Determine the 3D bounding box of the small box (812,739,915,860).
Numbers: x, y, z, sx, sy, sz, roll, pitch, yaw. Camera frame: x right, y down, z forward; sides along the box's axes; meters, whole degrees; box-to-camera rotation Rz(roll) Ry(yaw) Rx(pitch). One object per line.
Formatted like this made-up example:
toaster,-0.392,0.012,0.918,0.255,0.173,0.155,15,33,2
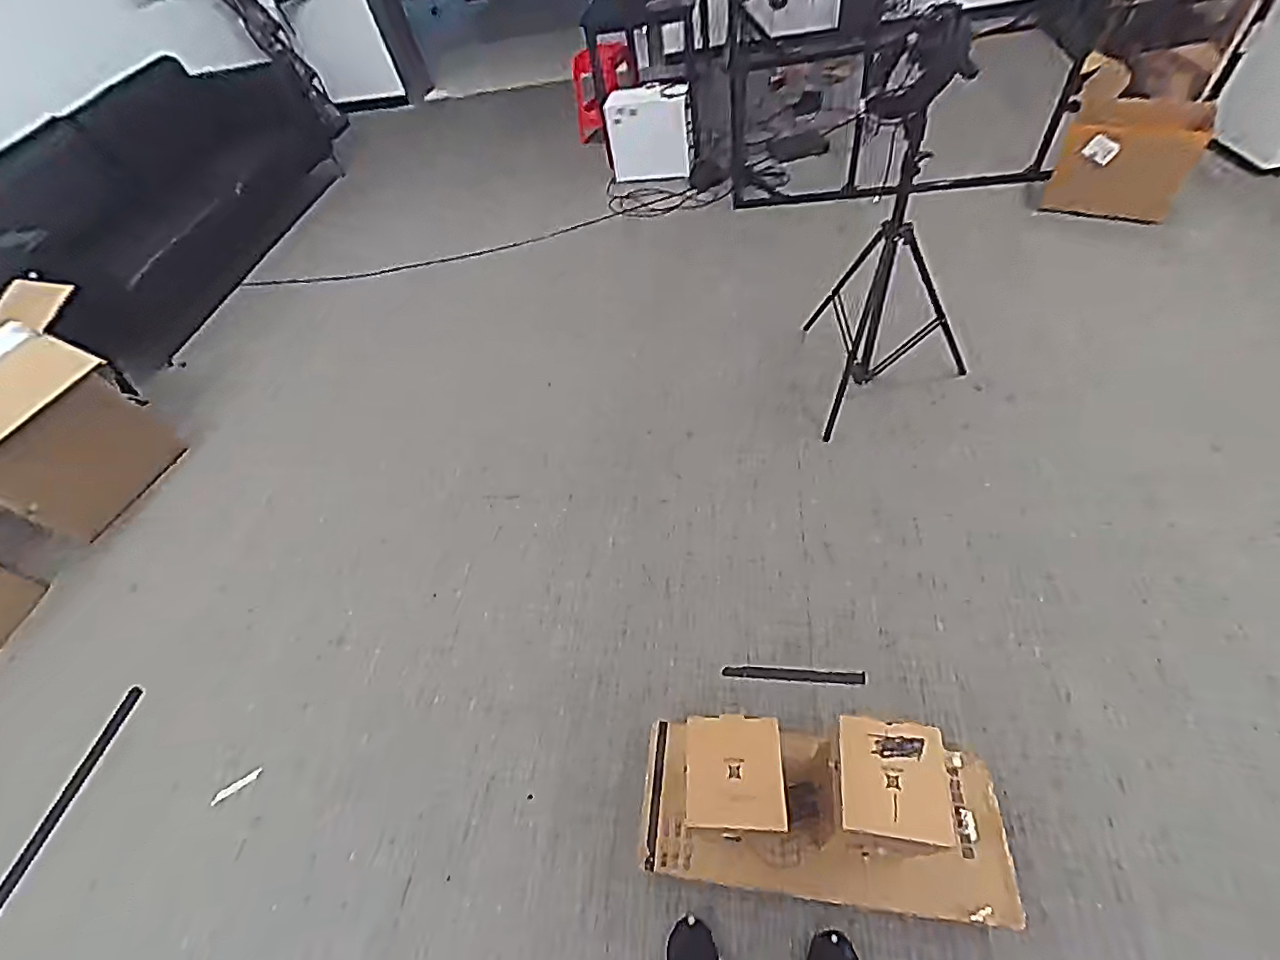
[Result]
small box,0.441,0.639,1.081,0.168,0.176,0.179,0,52,12

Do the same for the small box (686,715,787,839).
small box,0.173,0.547,0.995,0.168,0.176,0.179,-4,53,9

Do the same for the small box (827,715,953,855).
small box,0.425,0.538,0.952,0.168,0.176,0.179,3,54,13
